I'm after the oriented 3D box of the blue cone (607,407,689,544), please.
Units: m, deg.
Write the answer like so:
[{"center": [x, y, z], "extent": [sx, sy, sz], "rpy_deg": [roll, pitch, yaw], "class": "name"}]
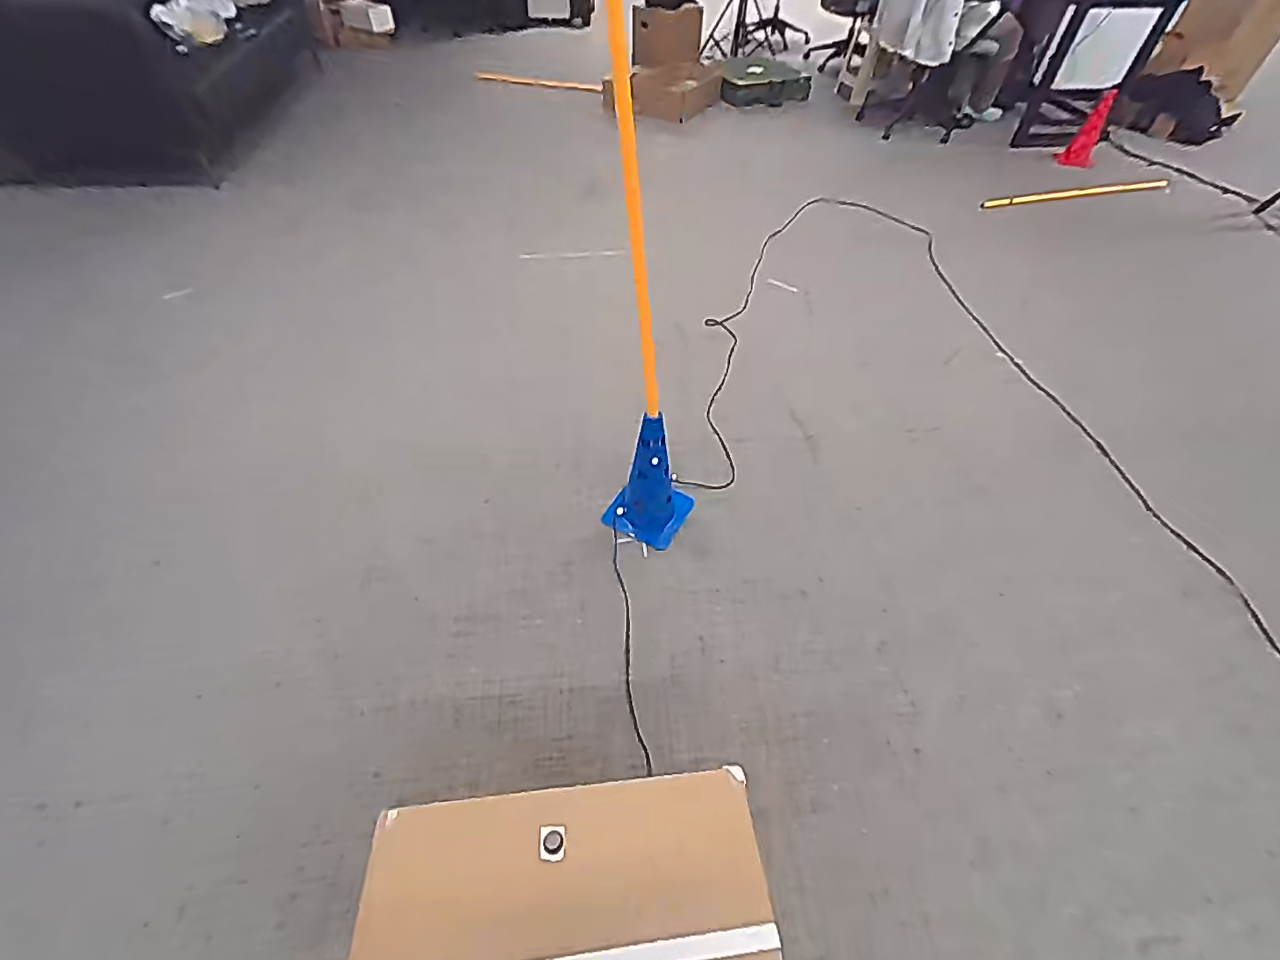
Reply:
[{"center": [0.027, -0.027, 1.332], "extent": [0.192, 0.380, 0.193], "rpy_deg": [22, 53, 17], "class": "blue cone"}]
